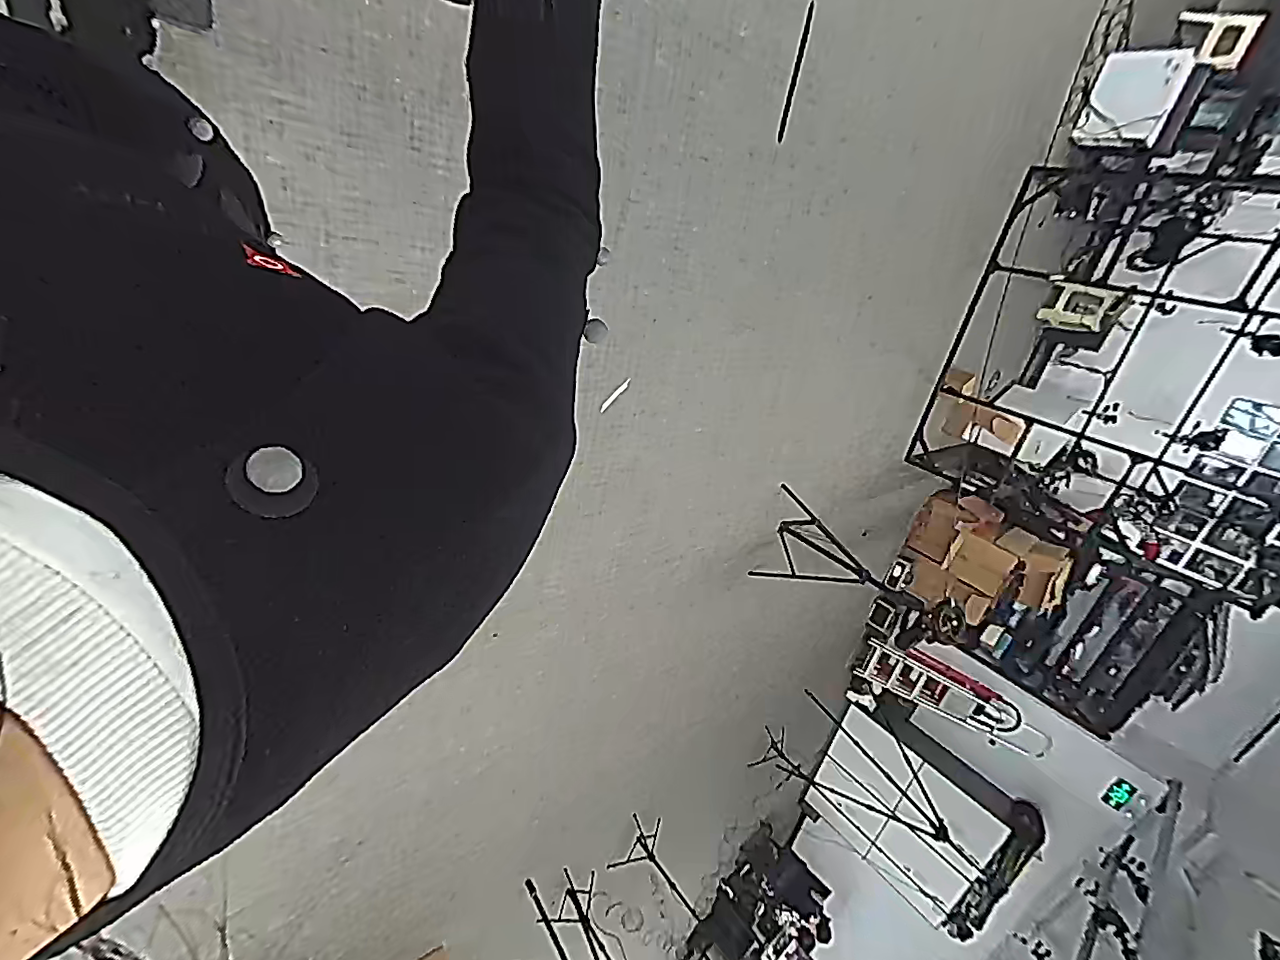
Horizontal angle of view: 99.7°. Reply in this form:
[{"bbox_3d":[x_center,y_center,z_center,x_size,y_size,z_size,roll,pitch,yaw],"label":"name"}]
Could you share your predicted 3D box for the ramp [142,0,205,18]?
[{"bbox_3d":[-0.774,-1.177,0.545,0.509,0.206,0.991,-10,123,-42],"label":"ramp"}]
